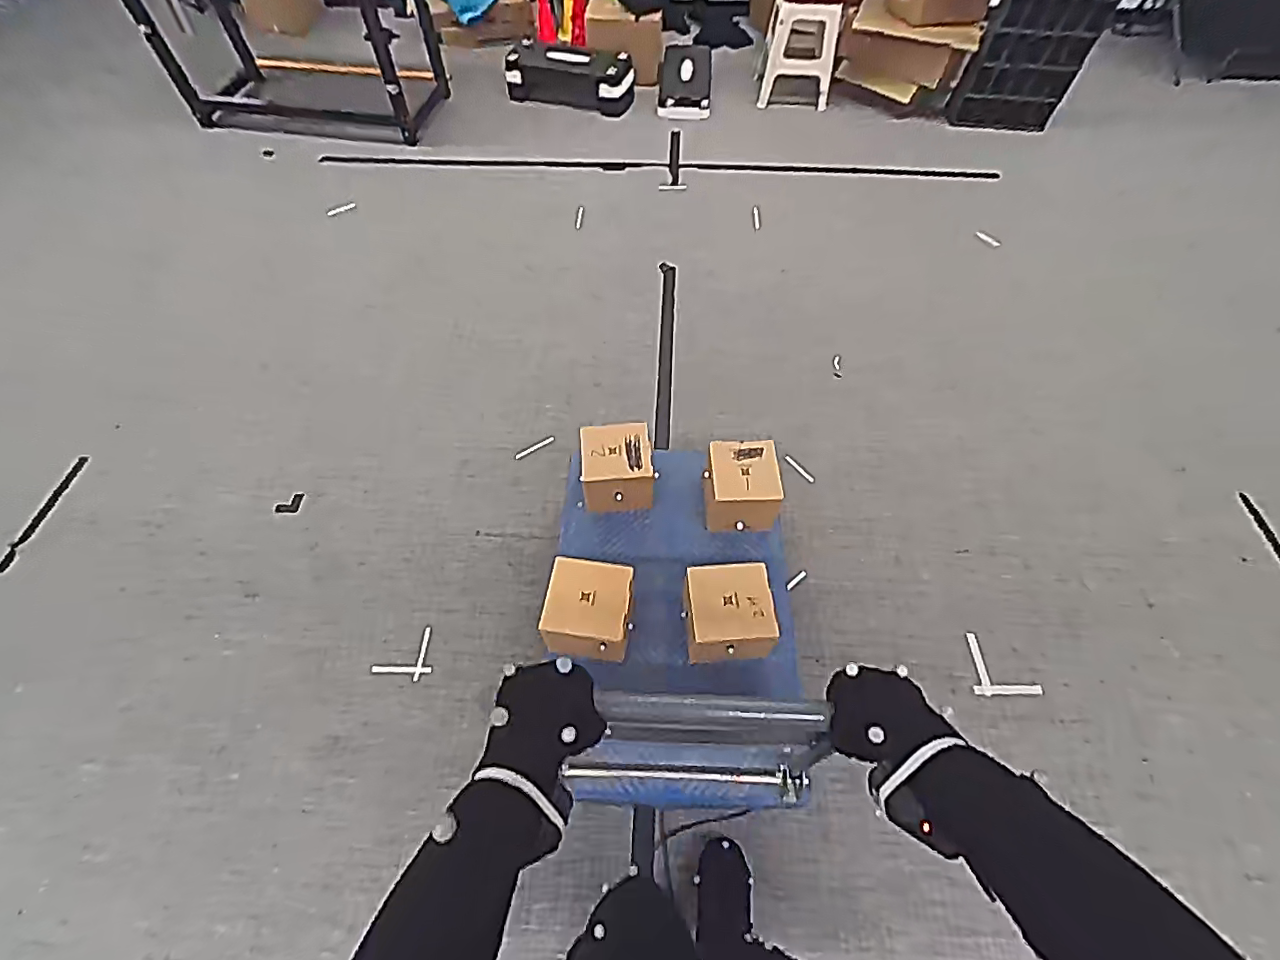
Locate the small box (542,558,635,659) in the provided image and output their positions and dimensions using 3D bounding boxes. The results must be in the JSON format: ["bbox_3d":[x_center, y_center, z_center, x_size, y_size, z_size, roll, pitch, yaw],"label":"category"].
[{"bbox_3d":[-0.108,0.294,1.220,0.179,0.176,0.168,7,57,3],"label":"small box"}]

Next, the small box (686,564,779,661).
[{"bbox_3d":[0.197,0.301,1.215,0.179,0.176,0.168,-3,57,-2],"label":"small box"}]

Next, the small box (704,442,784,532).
[{"bbox_3d":[0.260,0.020,1.395,0.168,0.176,0.179,-1,58,-1],"label":"small box"}]
